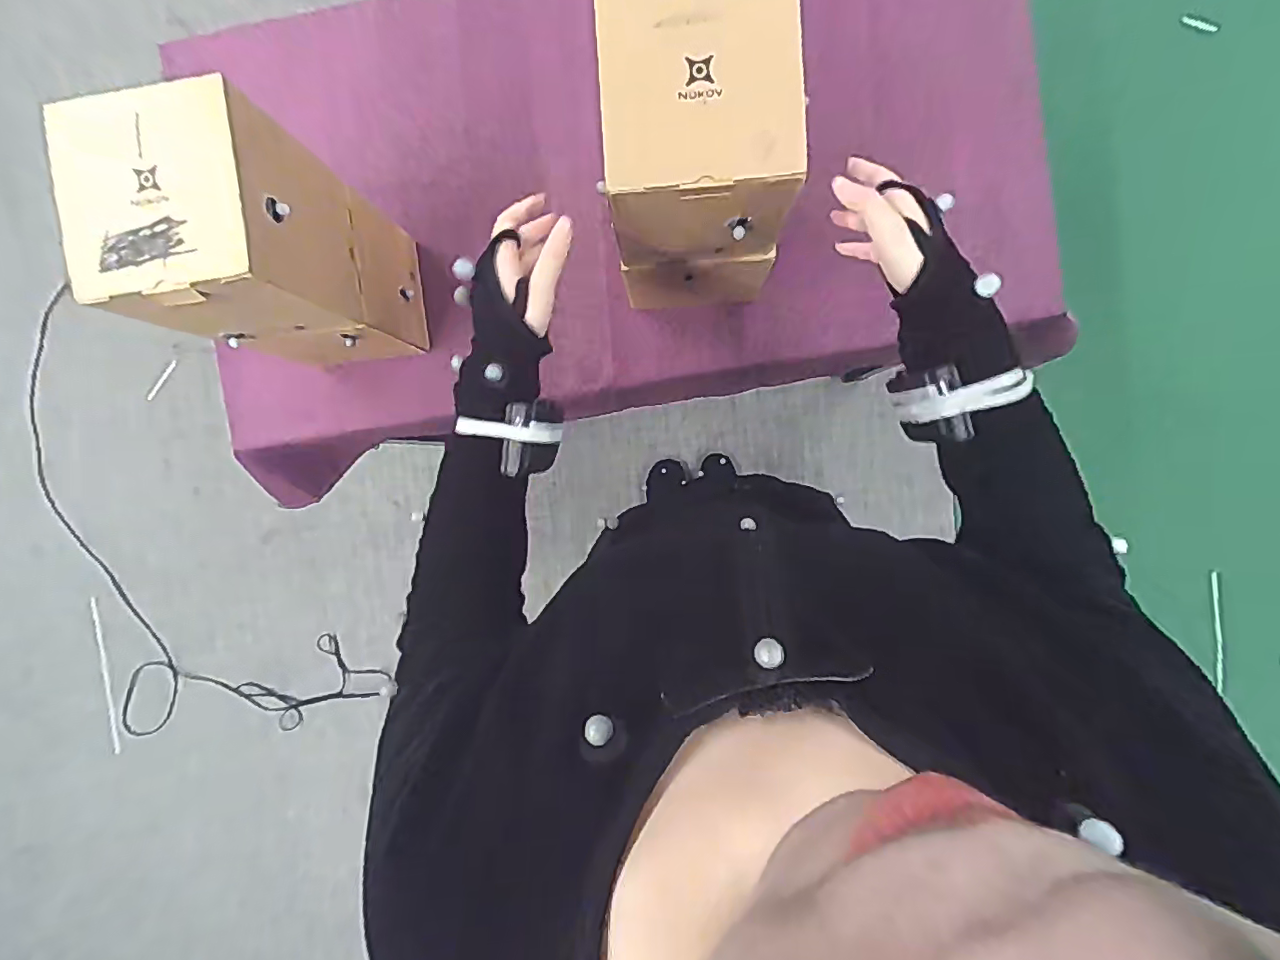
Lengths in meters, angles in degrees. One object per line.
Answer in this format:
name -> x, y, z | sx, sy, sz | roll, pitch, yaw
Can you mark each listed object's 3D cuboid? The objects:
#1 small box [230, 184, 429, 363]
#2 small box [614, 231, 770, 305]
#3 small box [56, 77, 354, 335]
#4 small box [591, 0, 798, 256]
small box -> -0.409, -0.260, 0.720 | 0.179, 0.176, 0.168 | -7, 92, 4
small box -> 0.063, -0.327, 0.681 | 0.179, 0.176, 0.168 | -2, 93, 5
small box -> -0.422, -0.257, 0.556 | 0.168, 0.176, 0.179 | -8, 90, 4
small box -> 0.050, -0.329, 0.518 | 0.168, 0.176, 0.179 | -3, 92, 4
